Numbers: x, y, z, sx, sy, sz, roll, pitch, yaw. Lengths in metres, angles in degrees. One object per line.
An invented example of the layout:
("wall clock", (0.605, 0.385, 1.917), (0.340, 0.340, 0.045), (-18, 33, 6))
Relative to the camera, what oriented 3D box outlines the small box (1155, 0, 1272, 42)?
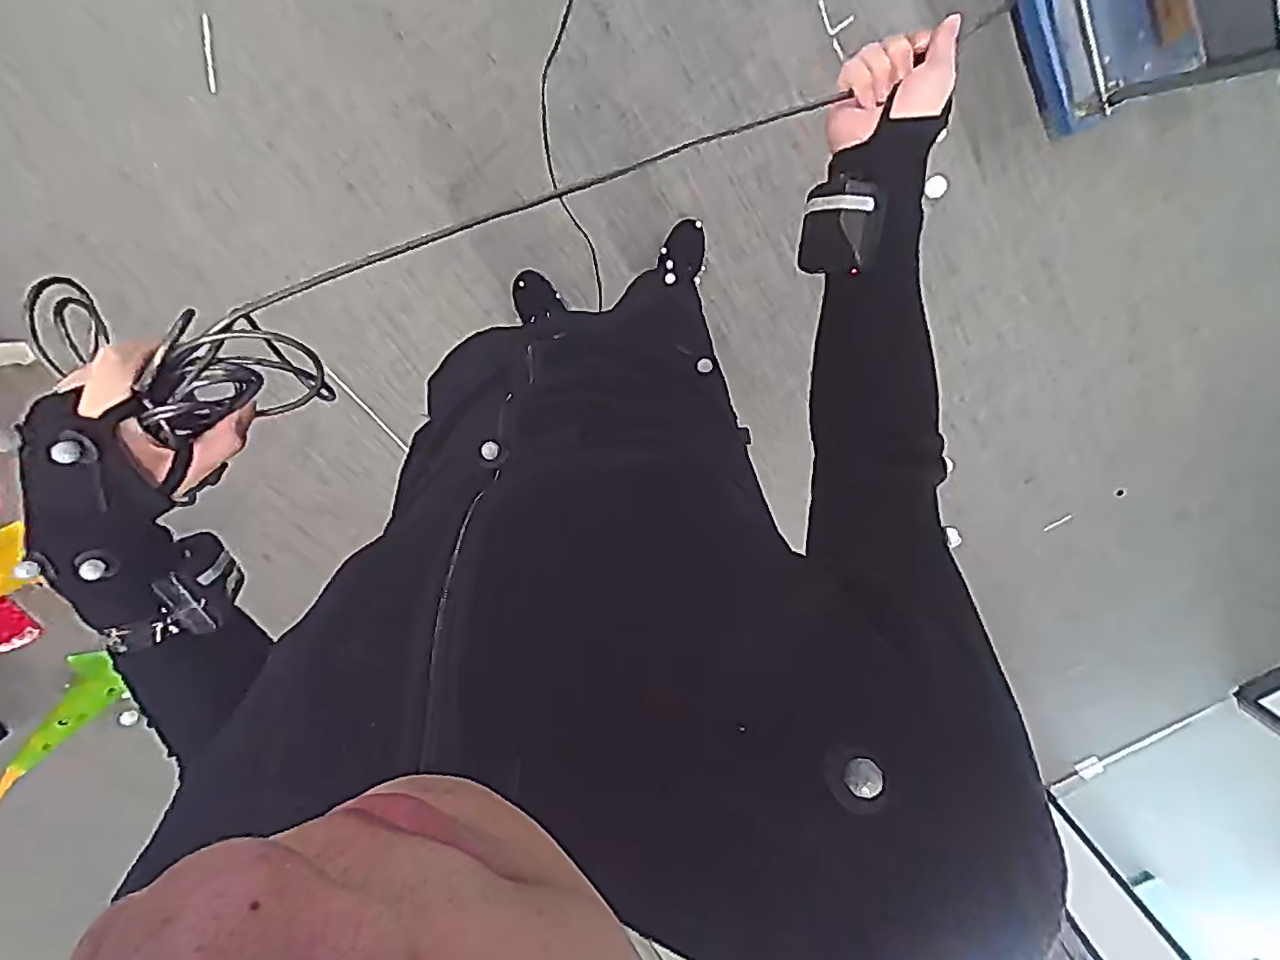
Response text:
("small box", (1.189, -1.032, 1.076), (0.179, 0.176, 0.168), (-32, 113, 10))
